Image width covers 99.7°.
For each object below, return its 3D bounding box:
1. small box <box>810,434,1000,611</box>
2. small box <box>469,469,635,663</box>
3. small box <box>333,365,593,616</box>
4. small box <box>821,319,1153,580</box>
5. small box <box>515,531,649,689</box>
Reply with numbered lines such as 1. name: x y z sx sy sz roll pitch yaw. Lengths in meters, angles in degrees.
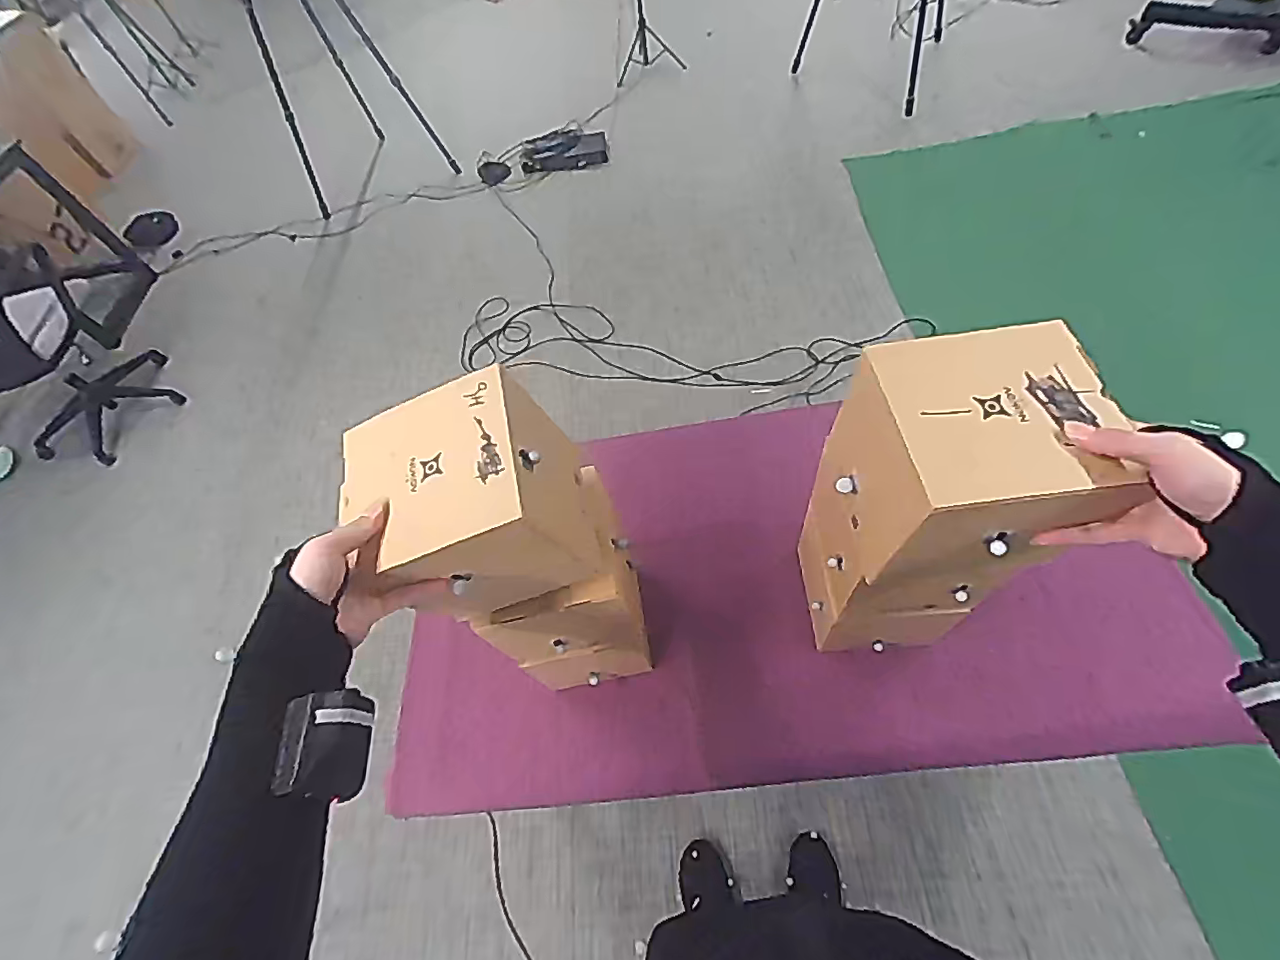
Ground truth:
1. small box: 0.310 0.051 0.654 0.168 0.176 0.179 -7 58 7
2. small box: -0.109 0.115 0.697 0.168 0.176 0.179 -14 58 1
3. small box: -0.169 0.024 0.545 0.179 0.176 0.168 -22 60 11
4. small box: 0.287 -0.019 0.501 0.179 0.176 0.168 -8 59 2
5. small box: -0.087 0.203 0.831 0.168 0.176 0.179 -12 57 3
